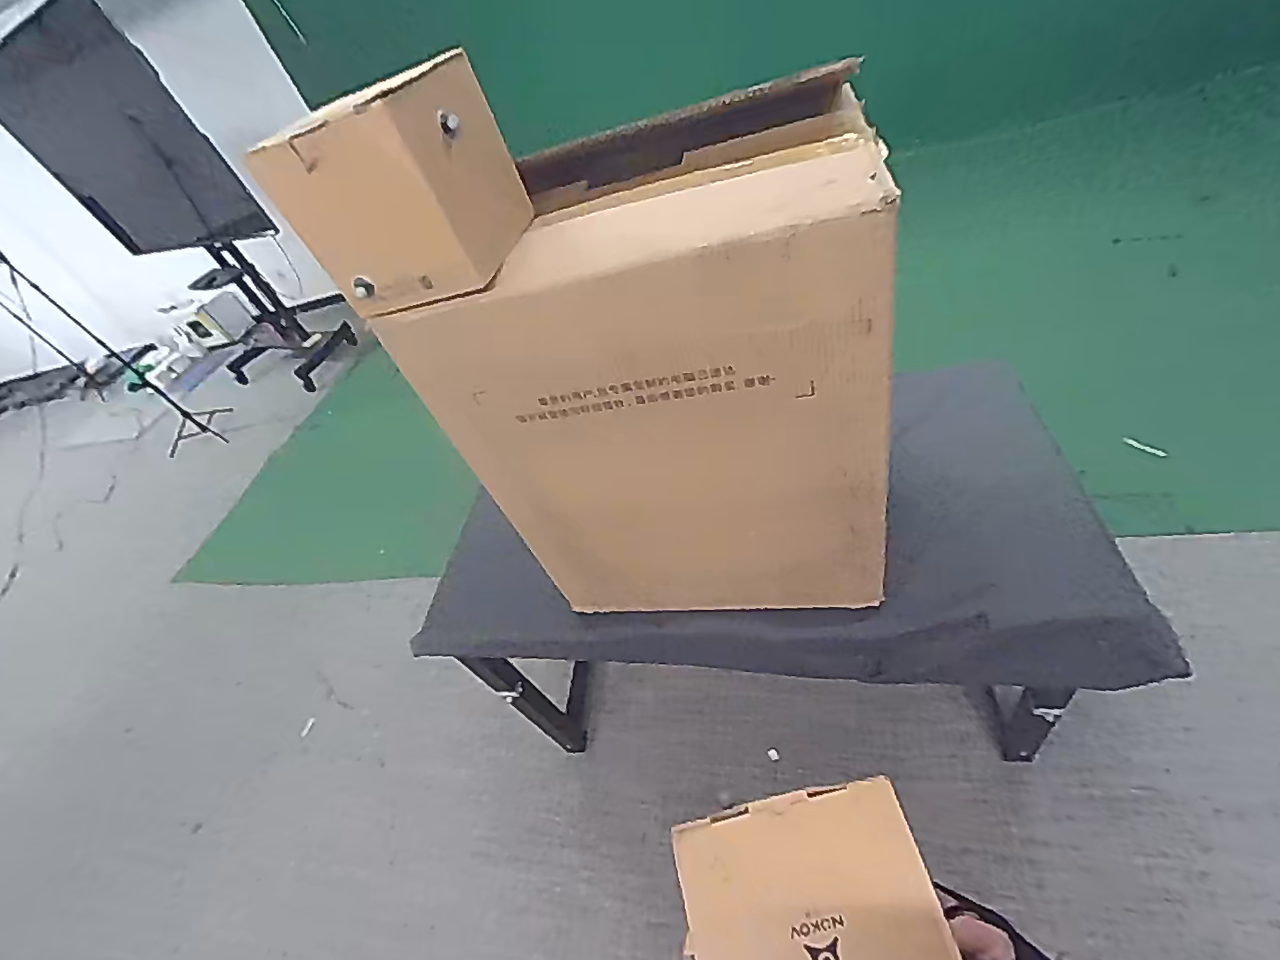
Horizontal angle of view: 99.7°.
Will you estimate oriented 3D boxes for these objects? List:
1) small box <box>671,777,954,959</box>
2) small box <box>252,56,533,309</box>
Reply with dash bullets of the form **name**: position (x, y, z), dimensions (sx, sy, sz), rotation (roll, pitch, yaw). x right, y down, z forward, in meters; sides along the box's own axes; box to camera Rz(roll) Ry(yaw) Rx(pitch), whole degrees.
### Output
- **small box**: position (0.126, 0.347, 0.417), dimensions (0.168, 0.176, 0.179), rotation (-14, 59, 1)
- **small box**: position (-0.235, -0.297, 0.567), dimensions (0.168, 0.176, 0.179), rotation (-5, 46, 20)
